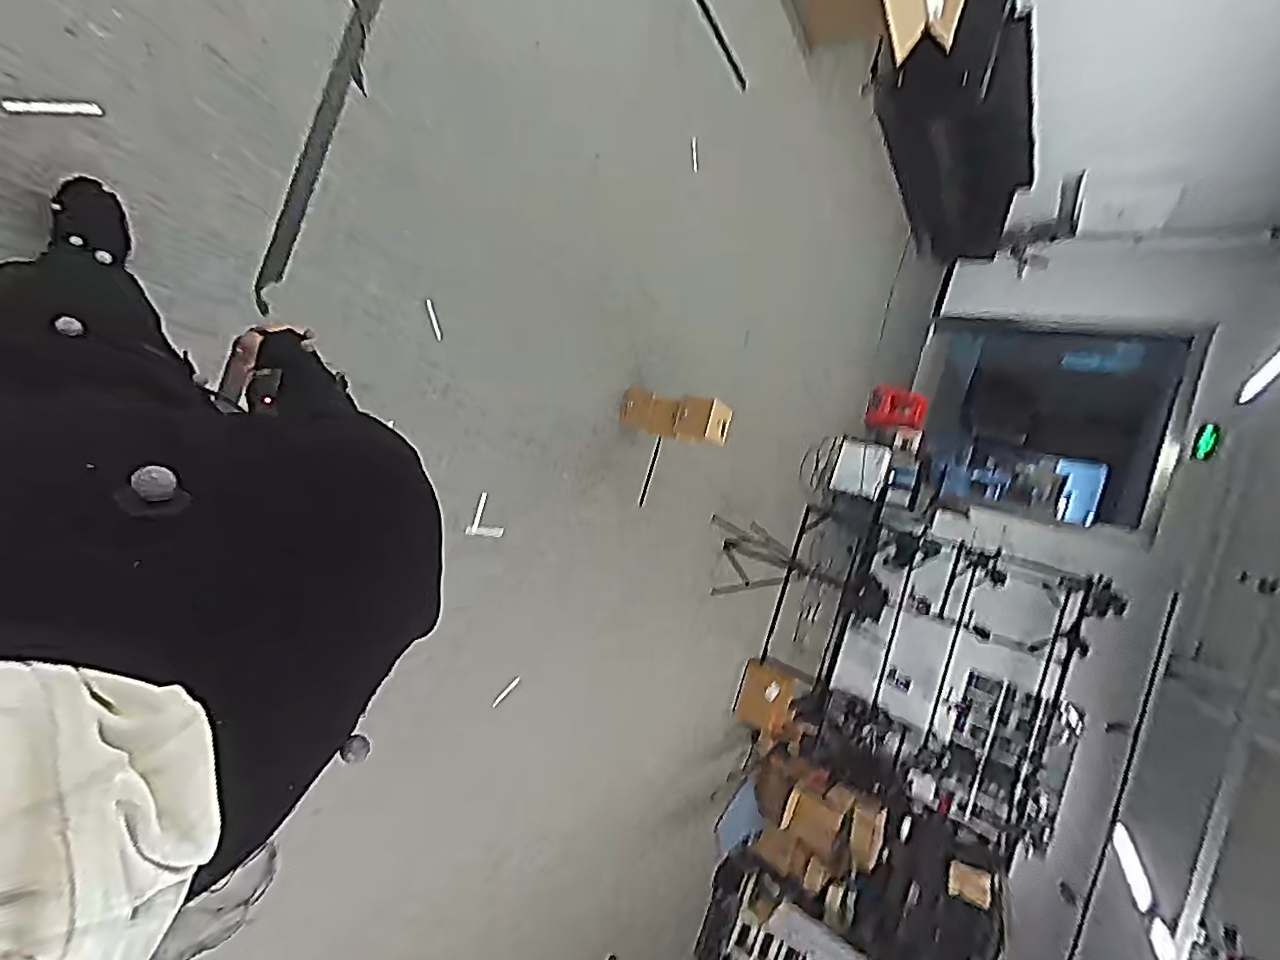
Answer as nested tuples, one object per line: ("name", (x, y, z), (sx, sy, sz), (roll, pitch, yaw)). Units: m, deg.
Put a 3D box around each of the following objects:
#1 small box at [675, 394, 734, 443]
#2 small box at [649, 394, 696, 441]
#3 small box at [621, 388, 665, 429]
("small box", (0.281, -0.269, 2.352), (0.179, 0.176, 0.168), (16, 88, -53))
("small box", (0.164, -0.286, 2.469), (0.168, 0.176, 0.179), (10, 94, -53))
("small box", (0.039, -0.335, 2.564), (0.179, 0.176, 0.168), (12, 93, -53))
